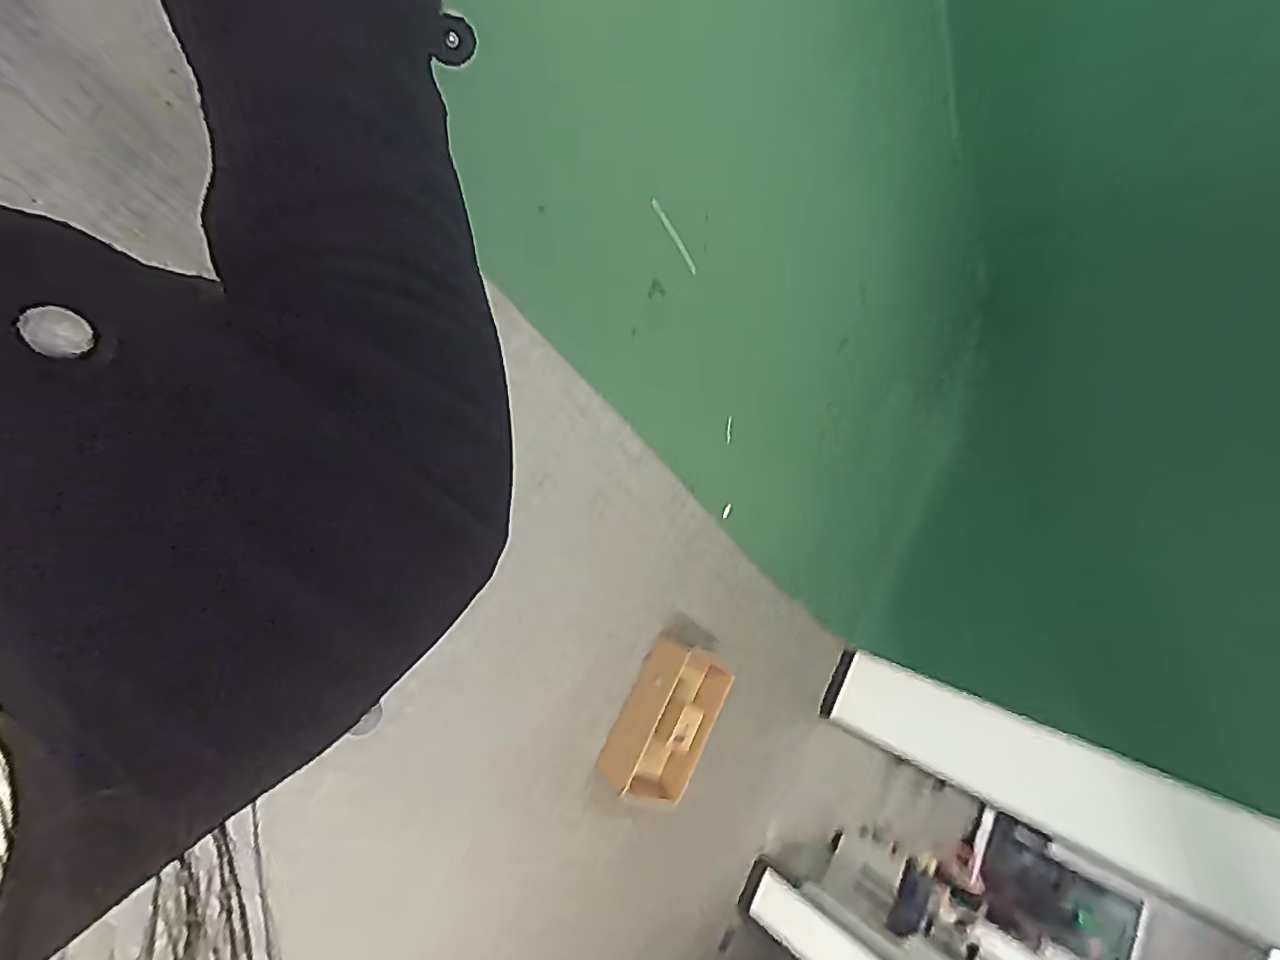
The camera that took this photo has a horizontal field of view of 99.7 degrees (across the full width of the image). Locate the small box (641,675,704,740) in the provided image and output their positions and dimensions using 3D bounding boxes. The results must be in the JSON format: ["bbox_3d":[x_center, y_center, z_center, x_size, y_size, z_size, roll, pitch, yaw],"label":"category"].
[{"bbox_3d":[0.130,0.950,2.260,0.168,0.176,0.179,42,70,-42],"label":"small box"}]
